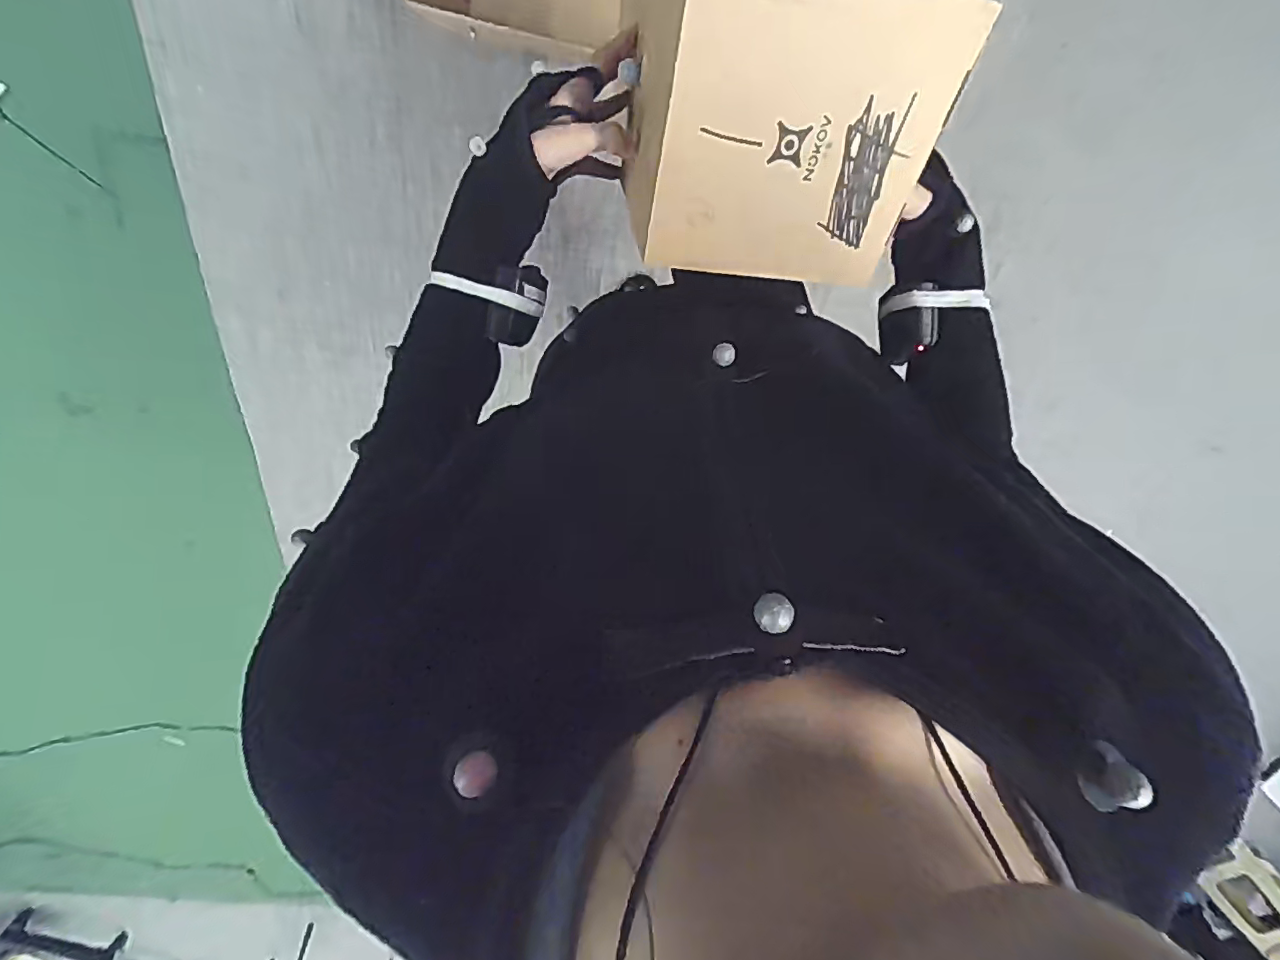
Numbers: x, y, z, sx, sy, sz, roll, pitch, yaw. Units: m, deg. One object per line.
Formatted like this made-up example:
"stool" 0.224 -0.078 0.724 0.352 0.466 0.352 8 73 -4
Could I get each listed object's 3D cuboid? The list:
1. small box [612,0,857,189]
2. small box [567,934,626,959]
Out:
"small box" 0.069 -0.392 0.499 0.179 0.176 0.168 1 137 -9
"small box" -0.141 1.568 1.709 0.179 0.176 0.168 9 122 -5
